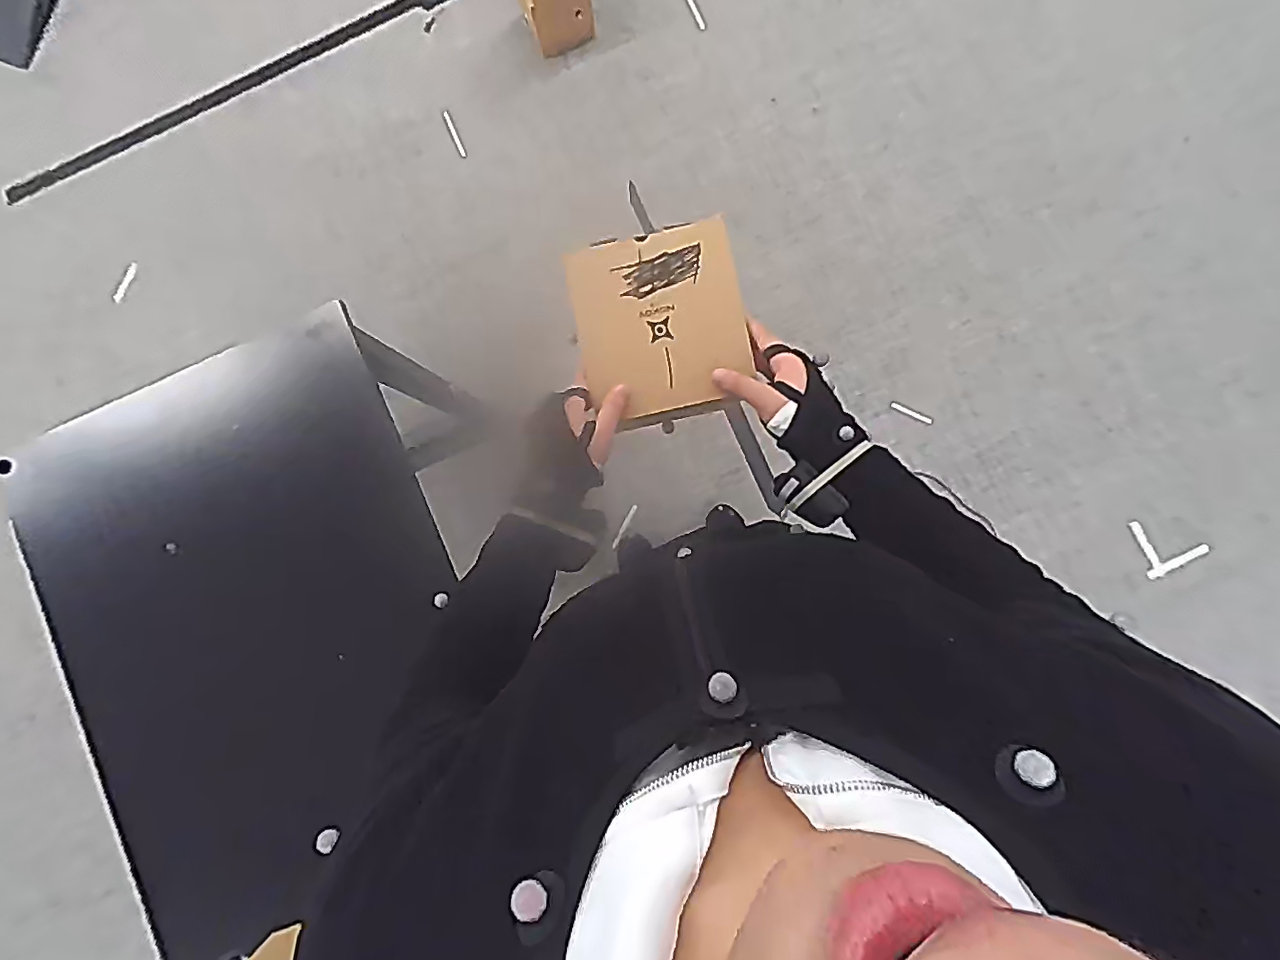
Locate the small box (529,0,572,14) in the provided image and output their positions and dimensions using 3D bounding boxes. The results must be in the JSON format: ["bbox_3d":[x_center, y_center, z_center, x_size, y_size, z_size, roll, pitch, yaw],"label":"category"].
[{"bbox_3d":[-0.245,-1.365,1.383,0.168,0.176,0.179,-26,84,0],"label":"small box"}]

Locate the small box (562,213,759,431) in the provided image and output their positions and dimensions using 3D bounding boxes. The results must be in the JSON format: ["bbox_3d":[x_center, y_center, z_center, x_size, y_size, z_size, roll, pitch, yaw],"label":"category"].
[{"bbox_3d":[0.020,-0.160,0.603,0.168,0.176,0.179,-13,92,1],"label":"small box"}]

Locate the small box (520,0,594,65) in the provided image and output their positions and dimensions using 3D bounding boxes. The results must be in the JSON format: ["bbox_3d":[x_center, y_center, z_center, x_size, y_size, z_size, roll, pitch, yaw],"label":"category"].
[{"bbox_3d":[-0.240,-1.354,1.547,0.179,0.176,0.168,-25,84,2],"label":"small box"}]
